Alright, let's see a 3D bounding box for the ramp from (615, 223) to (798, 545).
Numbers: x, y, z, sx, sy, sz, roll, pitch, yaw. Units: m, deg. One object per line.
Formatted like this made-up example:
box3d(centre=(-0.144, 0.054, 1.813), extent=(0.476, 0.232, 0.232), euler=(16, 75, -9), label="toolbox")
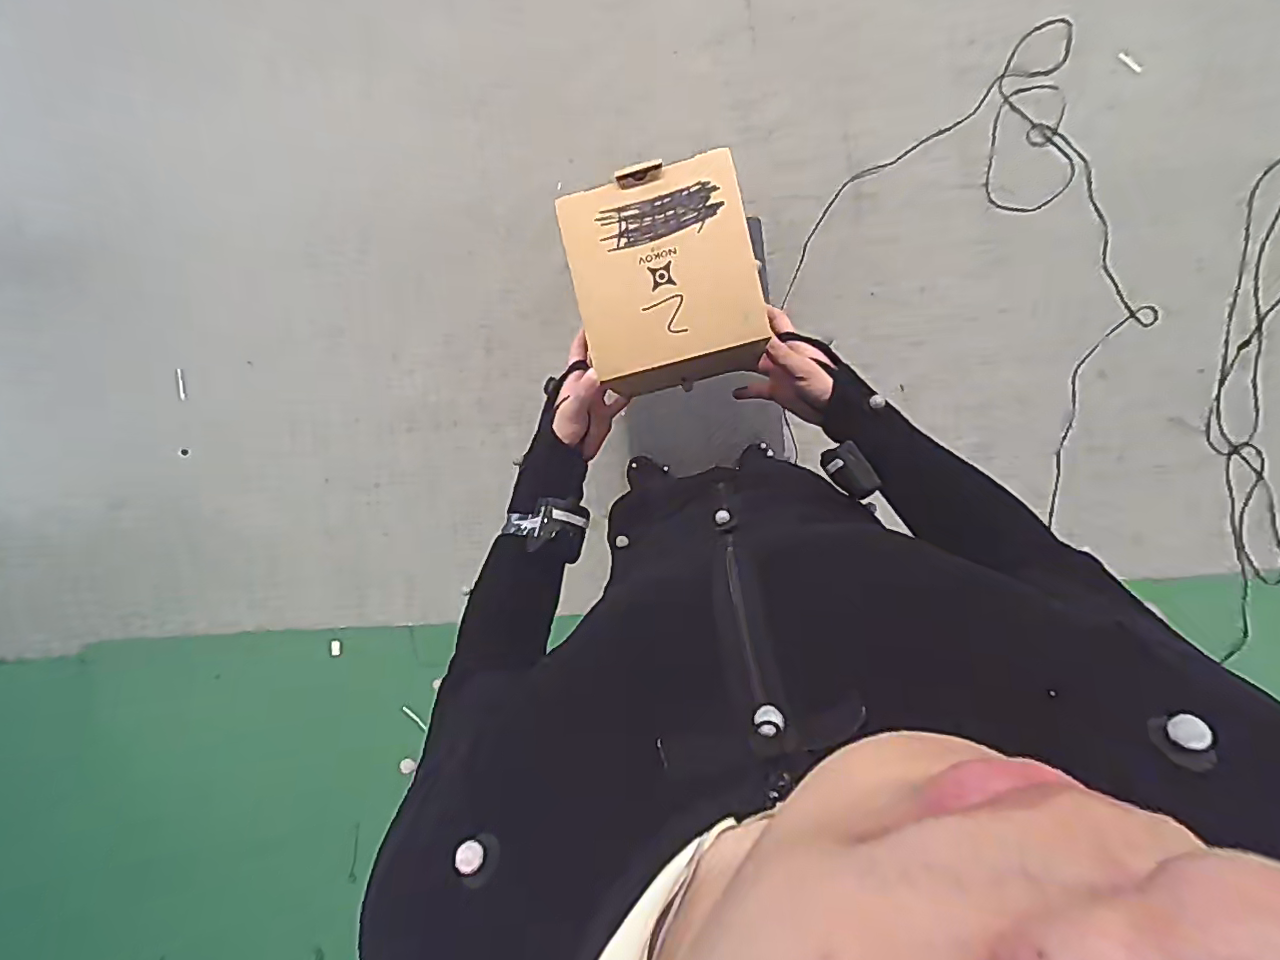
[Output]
box3d(centre=(0.195, -0.313, 1.697), extent=(0.509, 0.206, 0.991), euler=(-6, 94, 3), label="ramp")
